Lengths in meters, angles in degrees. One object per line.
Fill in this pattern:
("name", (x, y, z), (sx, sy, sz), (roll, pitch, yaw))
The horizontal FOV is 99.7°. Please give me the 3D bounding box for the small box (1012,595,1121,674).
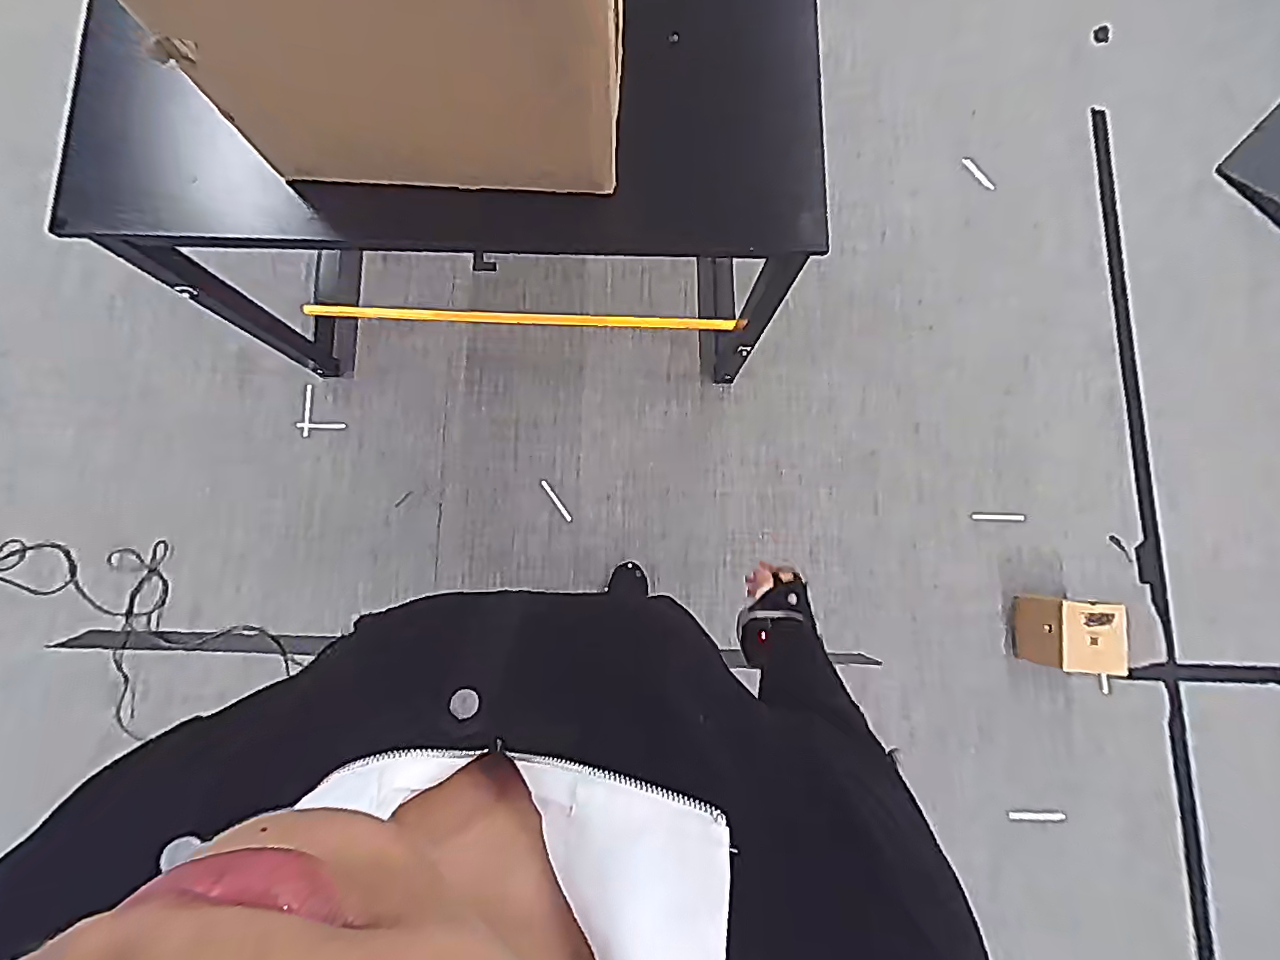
("small box", (1.128, 0.405, 1.442), (0.168, 0.176, 0.179), (5, 83, -1))
